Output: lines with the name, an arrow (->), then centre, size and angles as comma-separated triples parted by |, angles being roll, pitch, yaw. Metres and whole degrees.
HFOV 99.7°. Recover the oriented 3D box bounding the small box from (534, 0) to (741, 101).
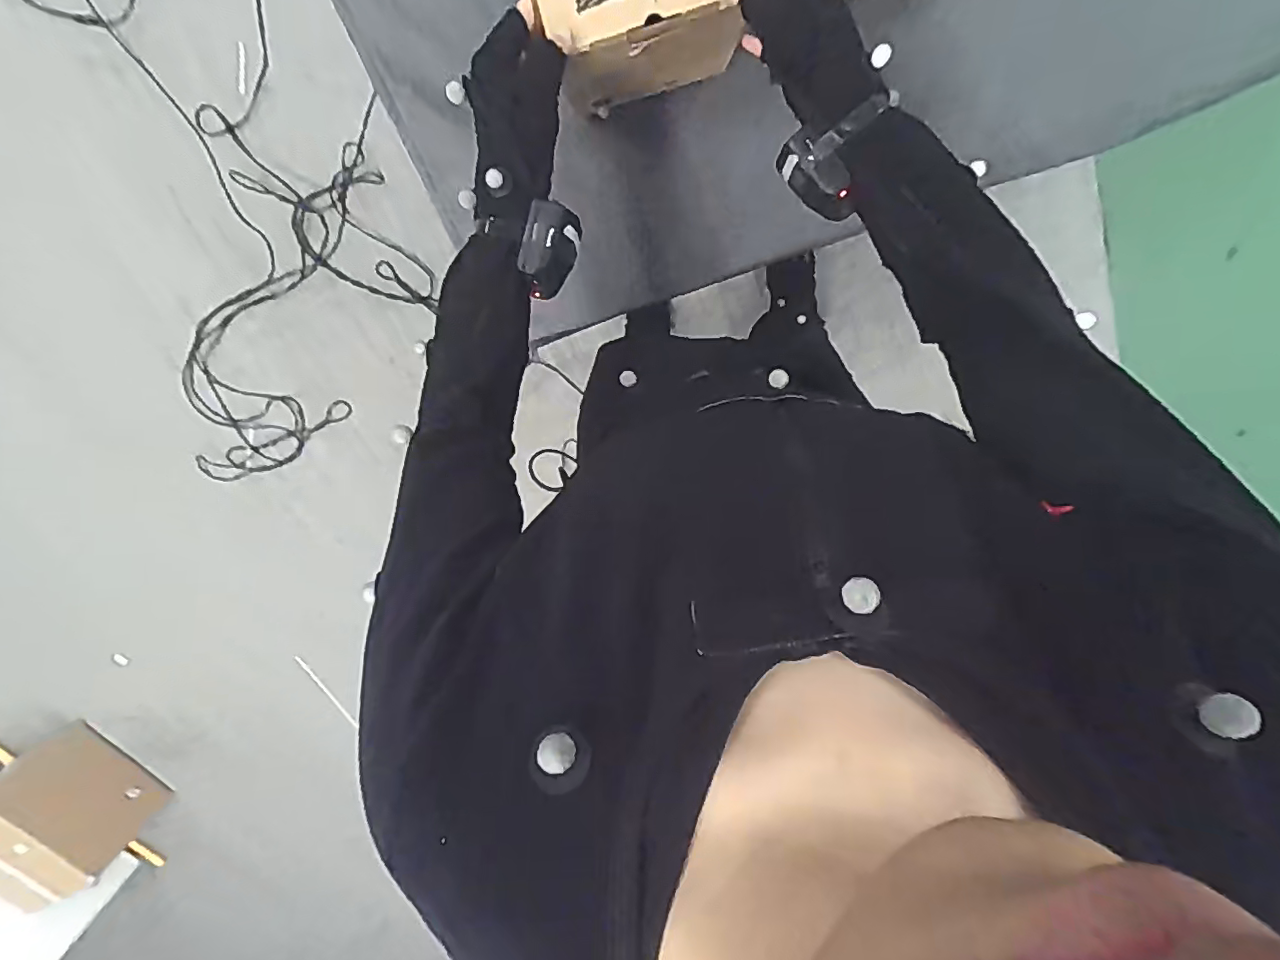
small box -> -0.014, -0.456, 0.461 | 0.168, 0.176, 0.179 | -14, 109, 5
